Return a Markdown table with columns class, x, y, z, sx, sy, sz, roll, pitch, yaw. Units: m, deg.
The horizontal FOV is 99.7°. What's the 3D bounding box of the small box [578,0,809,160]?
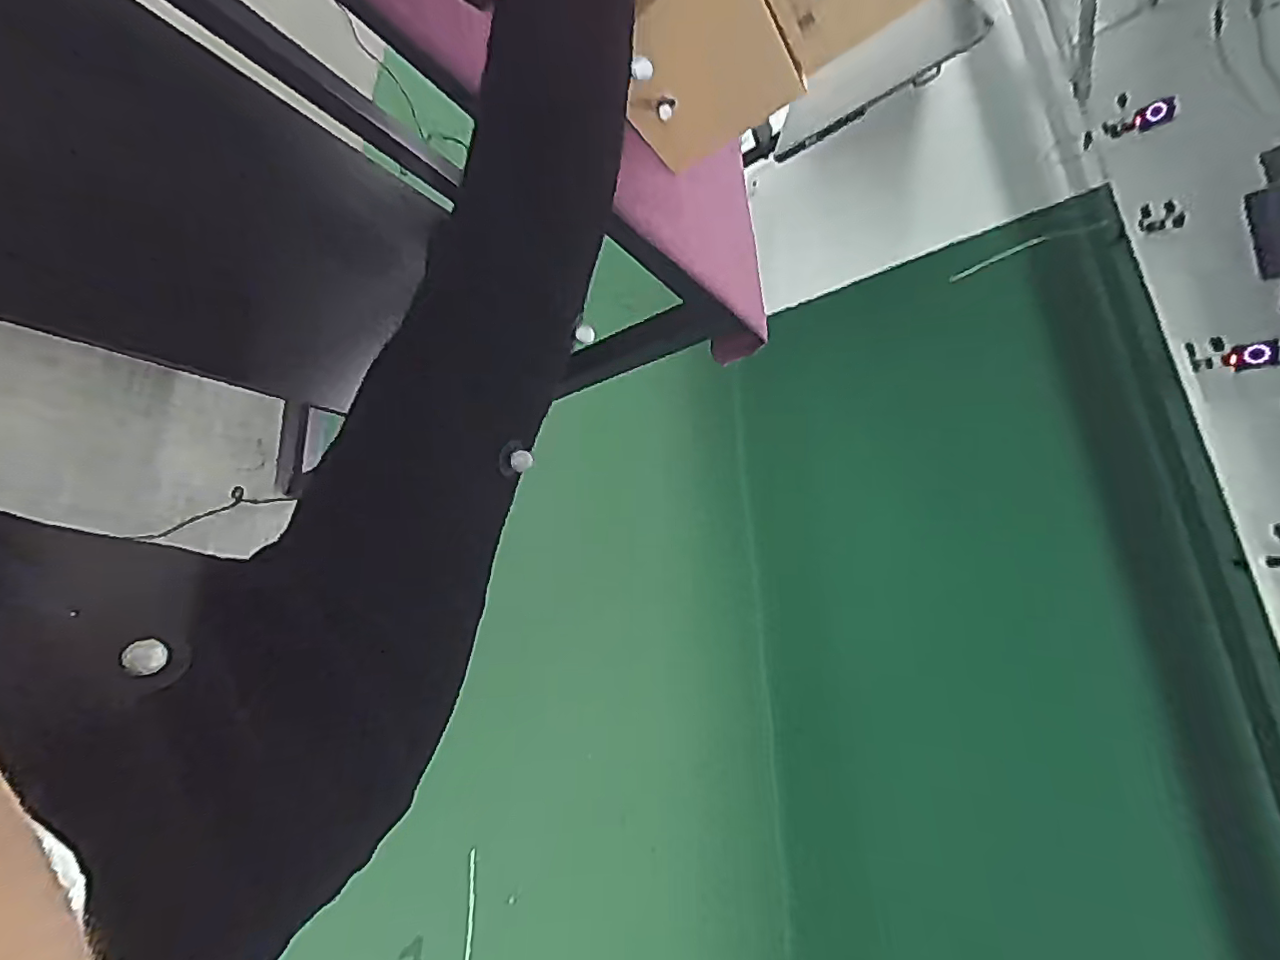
| class | x | y | z | sx | sy | sz | roll | pitch | yaw |
| --- | --- | --- | --- | --- | --- | --- | --- | --- | --- |
| small box | 0.054 | -0.474 | 0.558 | 0.179 | 0.176 | 0.168 | 18 | 62 | -52 |
